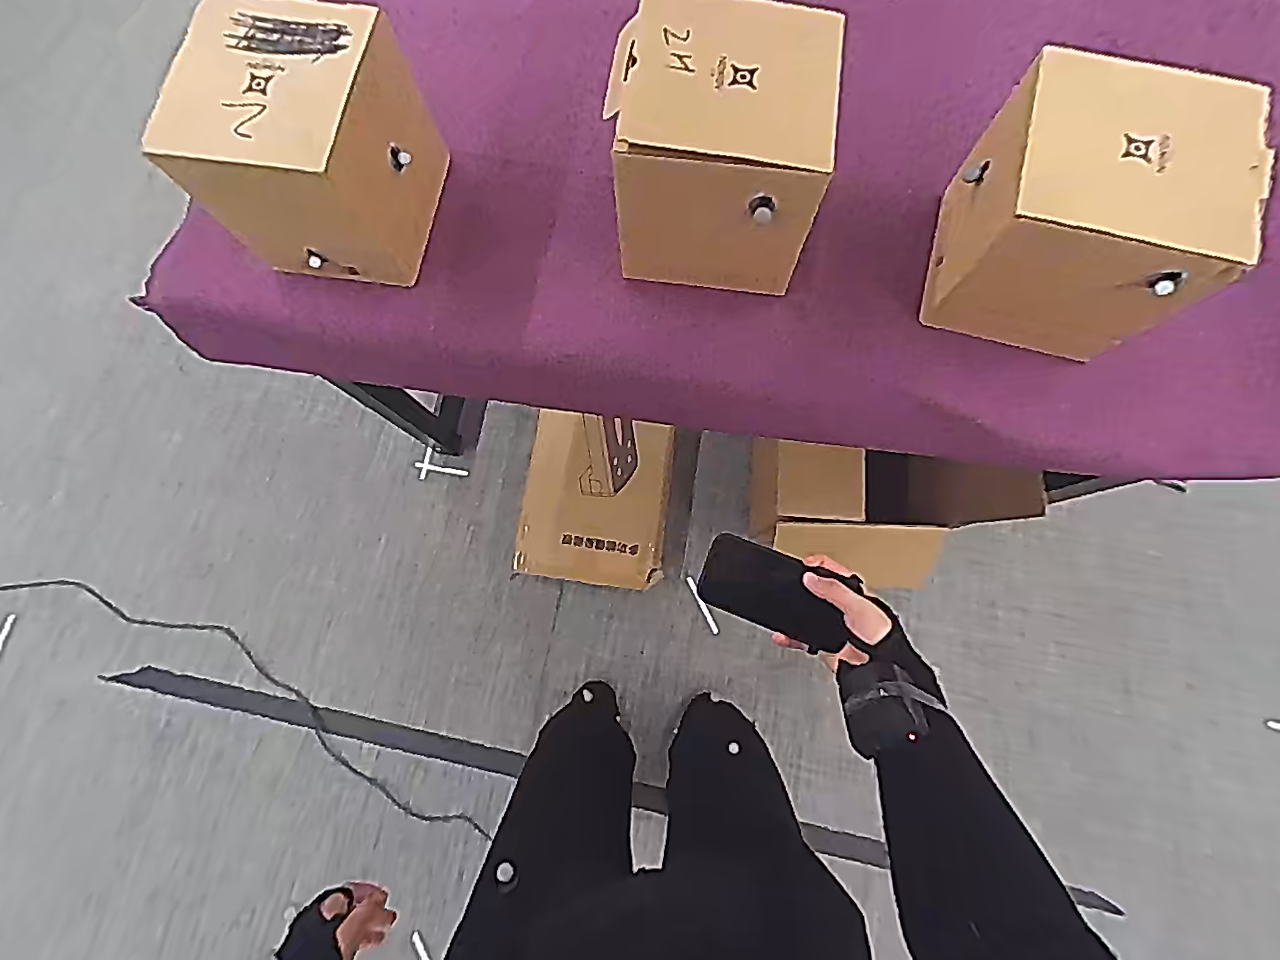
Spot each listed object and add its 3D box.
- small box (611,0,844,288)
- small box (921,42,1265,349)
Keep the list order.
[{"bbox_3d":[0.076,-0.307,0.517,0.179,0.176,0.168,8,75,4],"label":"small box"},{"bbox_3d":[0.387,-0.241,0.492,0.179,0.176,0.168,15,78,5],"label":"small box"}]
